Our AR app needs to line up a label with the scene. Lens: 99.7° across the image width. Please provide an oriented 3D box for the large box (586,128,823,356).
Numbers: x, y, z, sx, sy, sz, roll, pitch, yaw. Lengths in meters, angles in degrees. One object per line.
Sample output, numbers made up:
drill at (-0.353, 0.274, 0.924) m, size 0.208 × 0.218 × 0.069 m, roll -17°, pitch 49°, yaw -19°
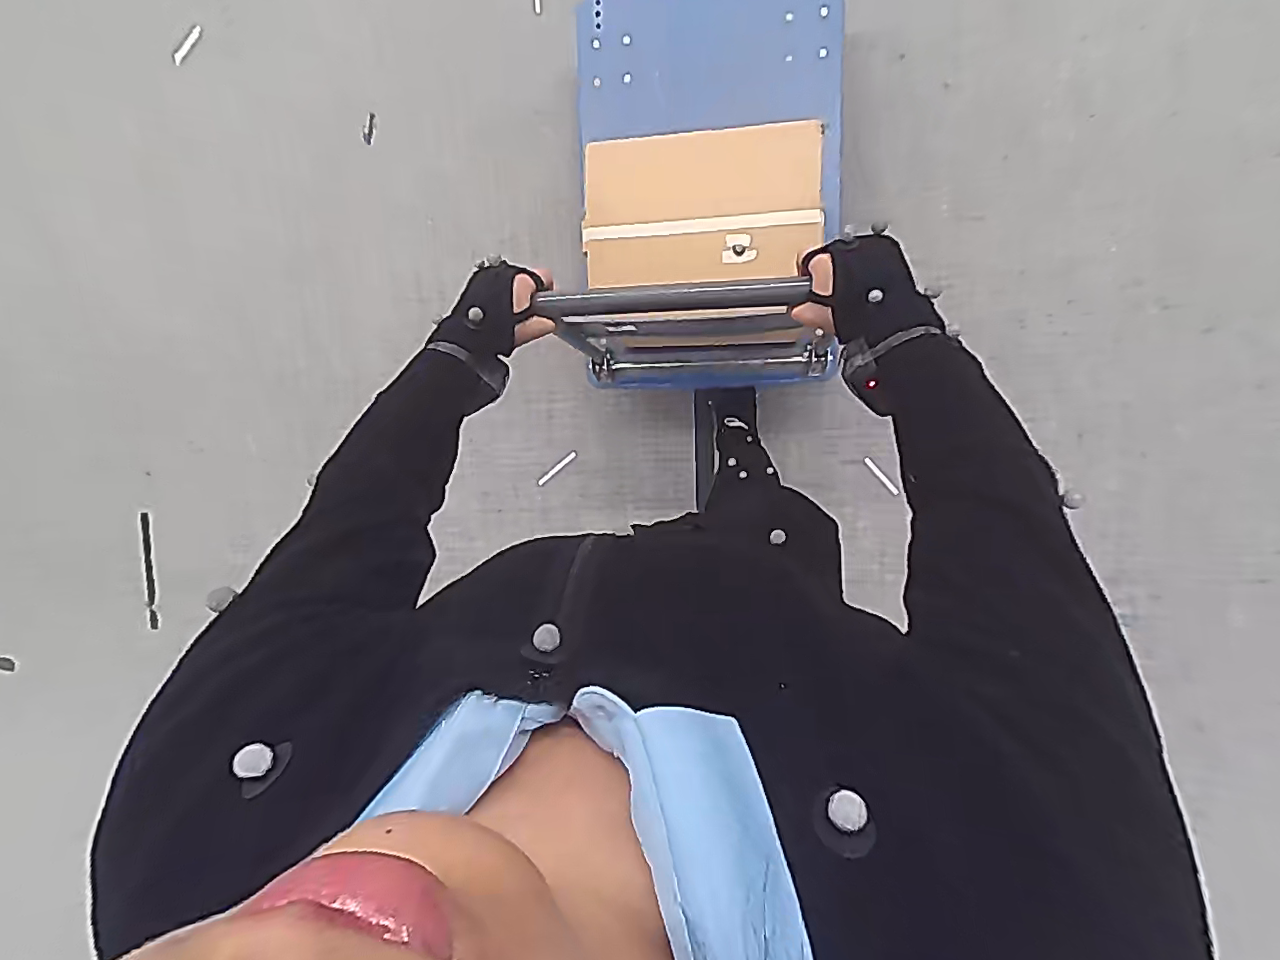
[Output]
large box at (0.126, -0.432, 1.070) m, size 0.408 × 0.320 × 0.320 m, roll 0°, pitch 96°, yaw 8°
